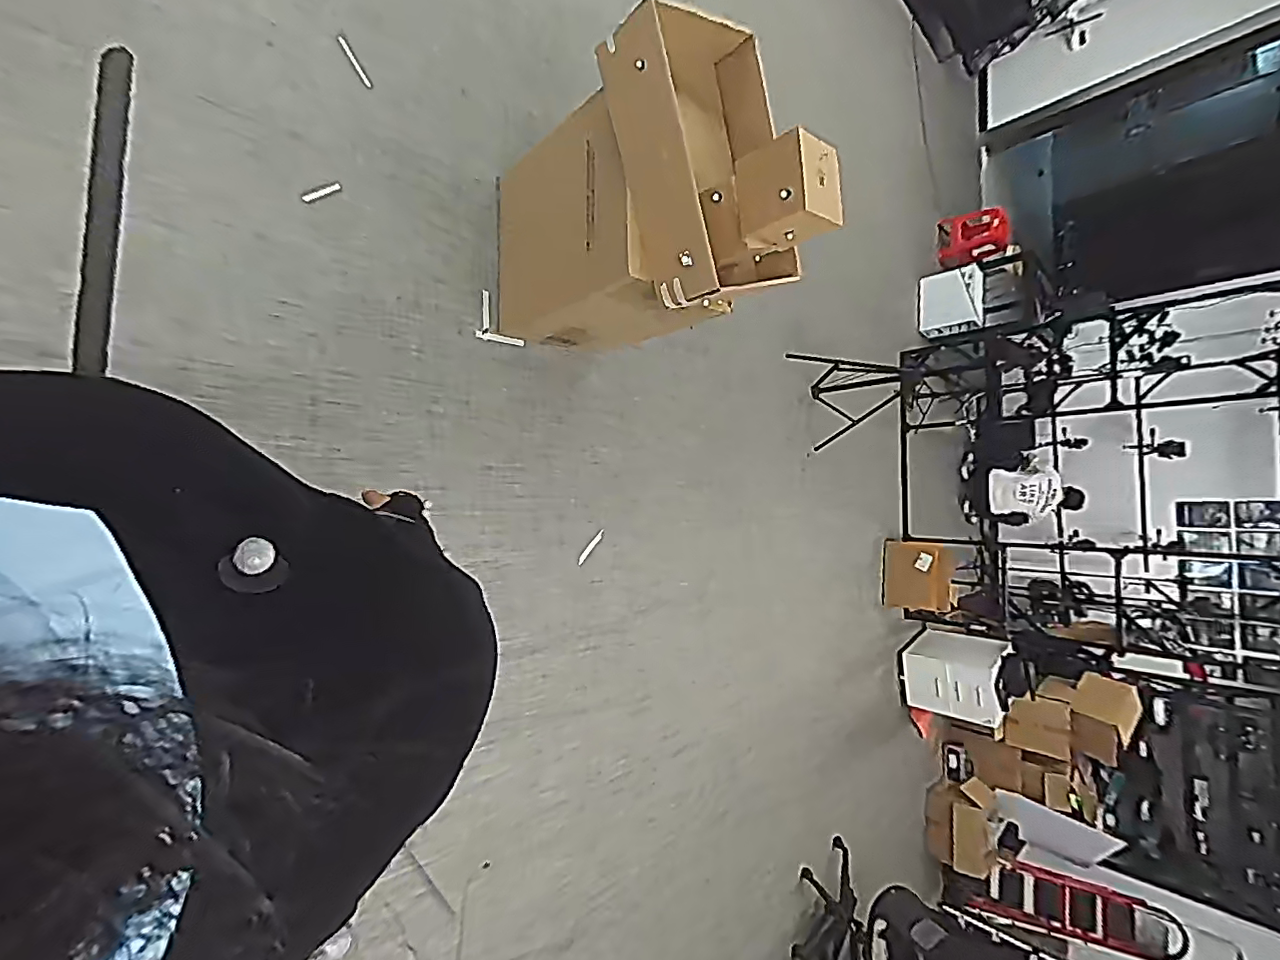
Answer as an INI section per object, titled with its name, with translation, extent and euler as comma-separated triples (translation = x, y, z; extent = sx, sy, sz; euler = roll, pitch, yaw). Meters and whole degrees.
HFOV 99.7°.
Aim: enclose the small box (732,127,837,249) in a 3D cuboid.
[small box]
translation = 0.329, -0.654, 1.239
extent = 0.168, 0.176, 0.179
euler = -8, 92, -43
